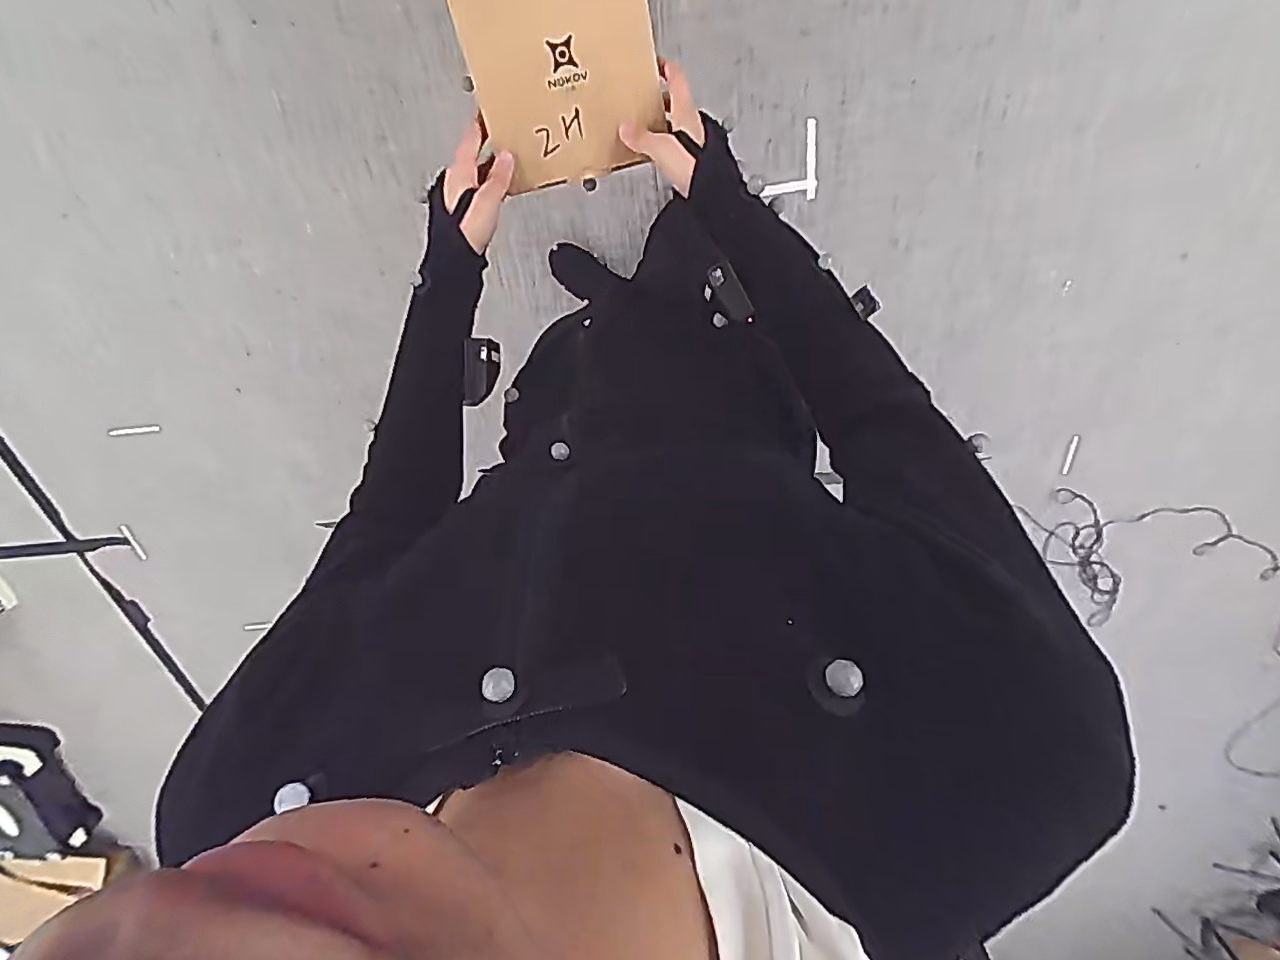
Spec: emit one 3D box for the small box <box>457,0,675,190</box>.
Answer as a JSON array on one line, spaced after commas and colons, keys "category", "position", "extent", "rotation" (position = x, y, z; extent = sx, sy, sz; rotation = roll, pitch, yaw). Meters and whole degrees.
[{"category": "small box", "position": [-0.070, -0.408, 0.542], "extent": [0.168, 0.176, 0.179], "rotation": [-13, 122, 2]}]
